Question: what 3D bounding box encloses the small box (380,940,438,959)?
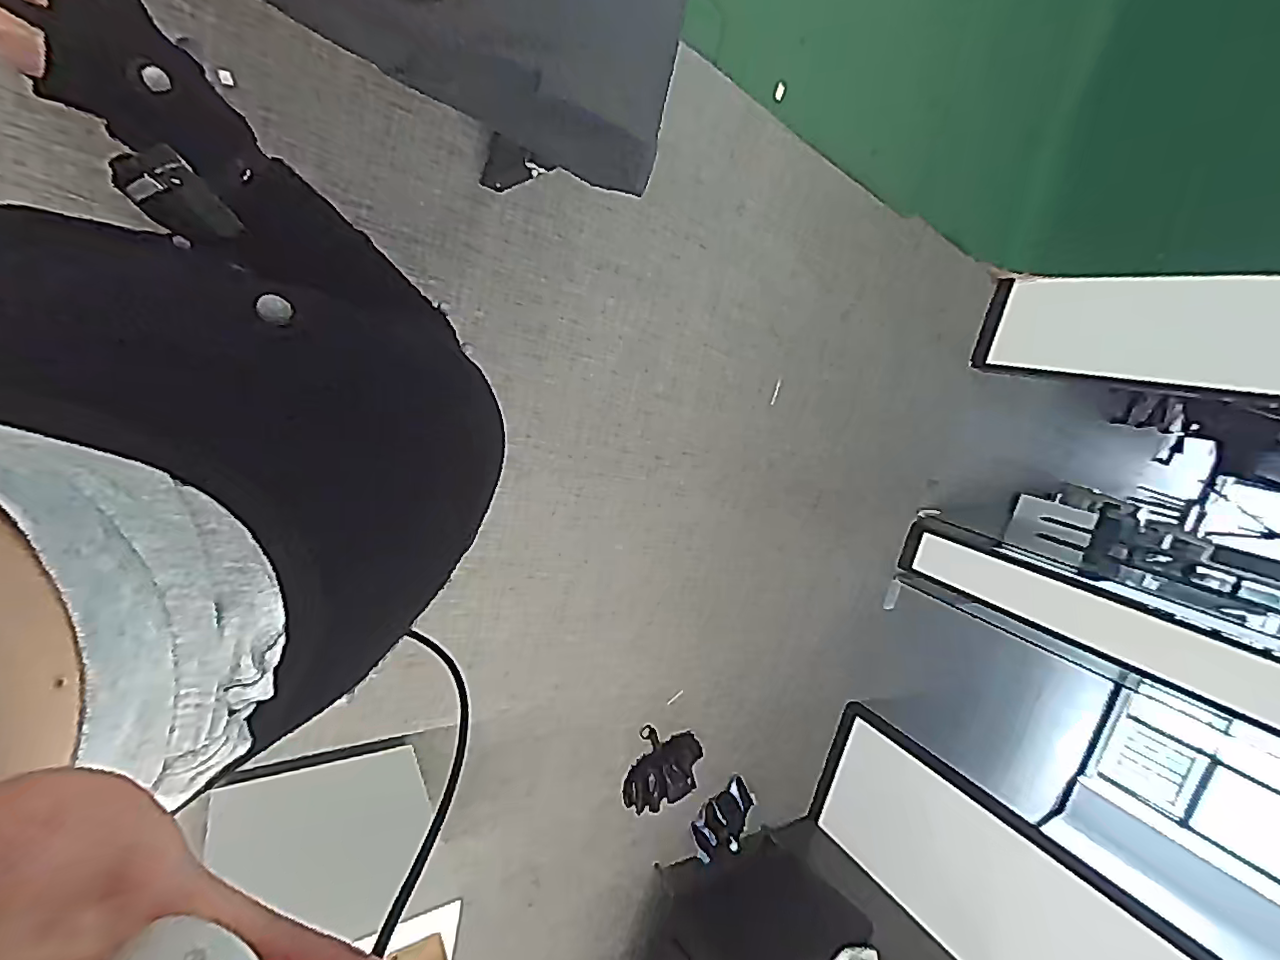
[{"bbox_3d":[-0.522,1.172,1.176,0.168,0.176,0.179,1,107,-35],"label":"small box"}]
